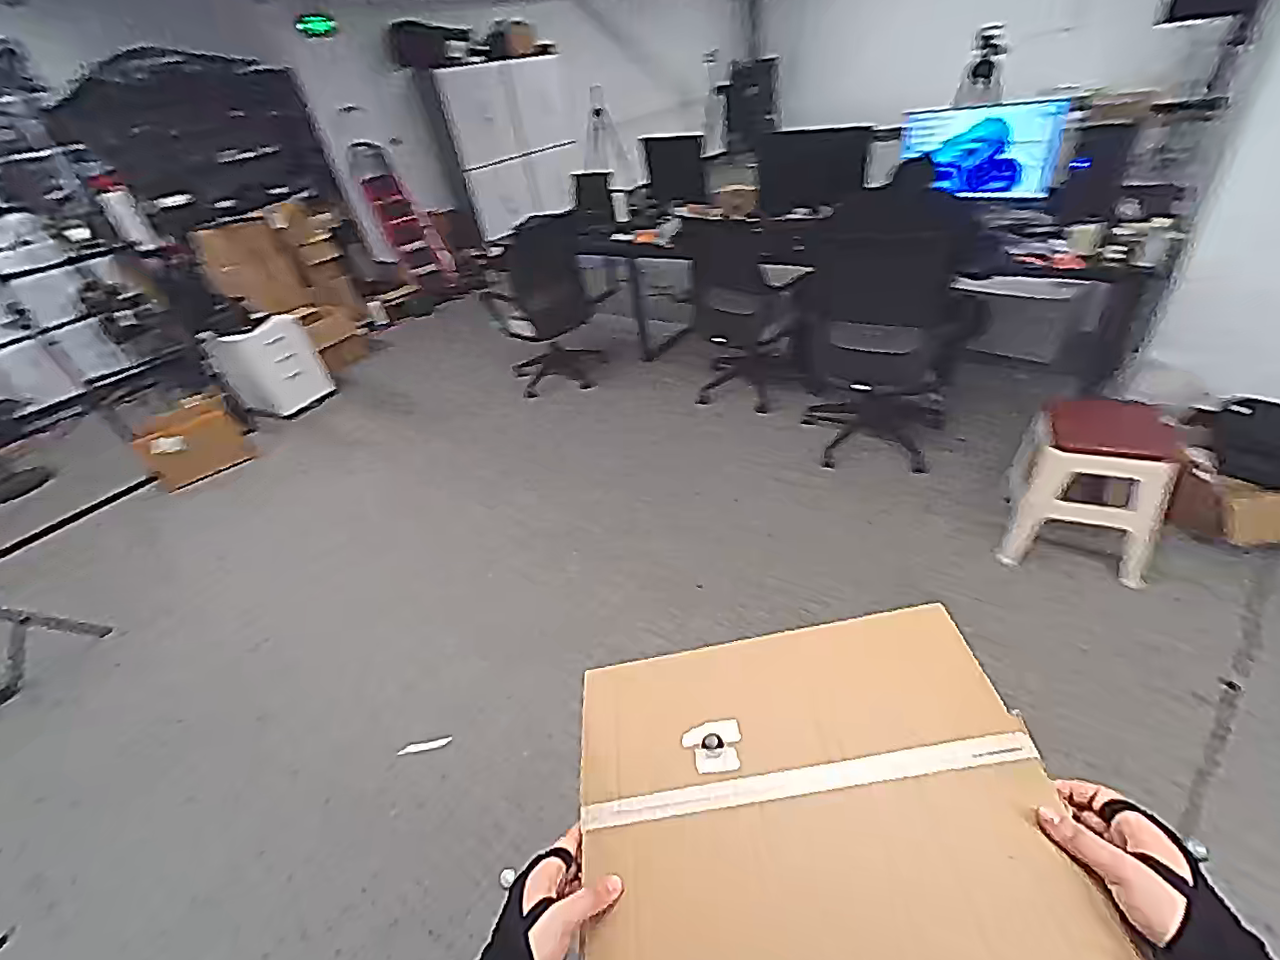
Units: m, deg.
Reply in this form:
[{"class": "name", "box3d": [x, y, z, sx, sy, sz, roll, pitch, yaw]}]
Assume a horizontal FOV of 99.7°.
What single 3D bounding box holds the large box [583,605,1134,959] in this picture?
[{"class": "large box", "box3d": [0.178, 0.392, 0.593, 0.408, 0.320, 0.320, -15, 38, 7]}]
